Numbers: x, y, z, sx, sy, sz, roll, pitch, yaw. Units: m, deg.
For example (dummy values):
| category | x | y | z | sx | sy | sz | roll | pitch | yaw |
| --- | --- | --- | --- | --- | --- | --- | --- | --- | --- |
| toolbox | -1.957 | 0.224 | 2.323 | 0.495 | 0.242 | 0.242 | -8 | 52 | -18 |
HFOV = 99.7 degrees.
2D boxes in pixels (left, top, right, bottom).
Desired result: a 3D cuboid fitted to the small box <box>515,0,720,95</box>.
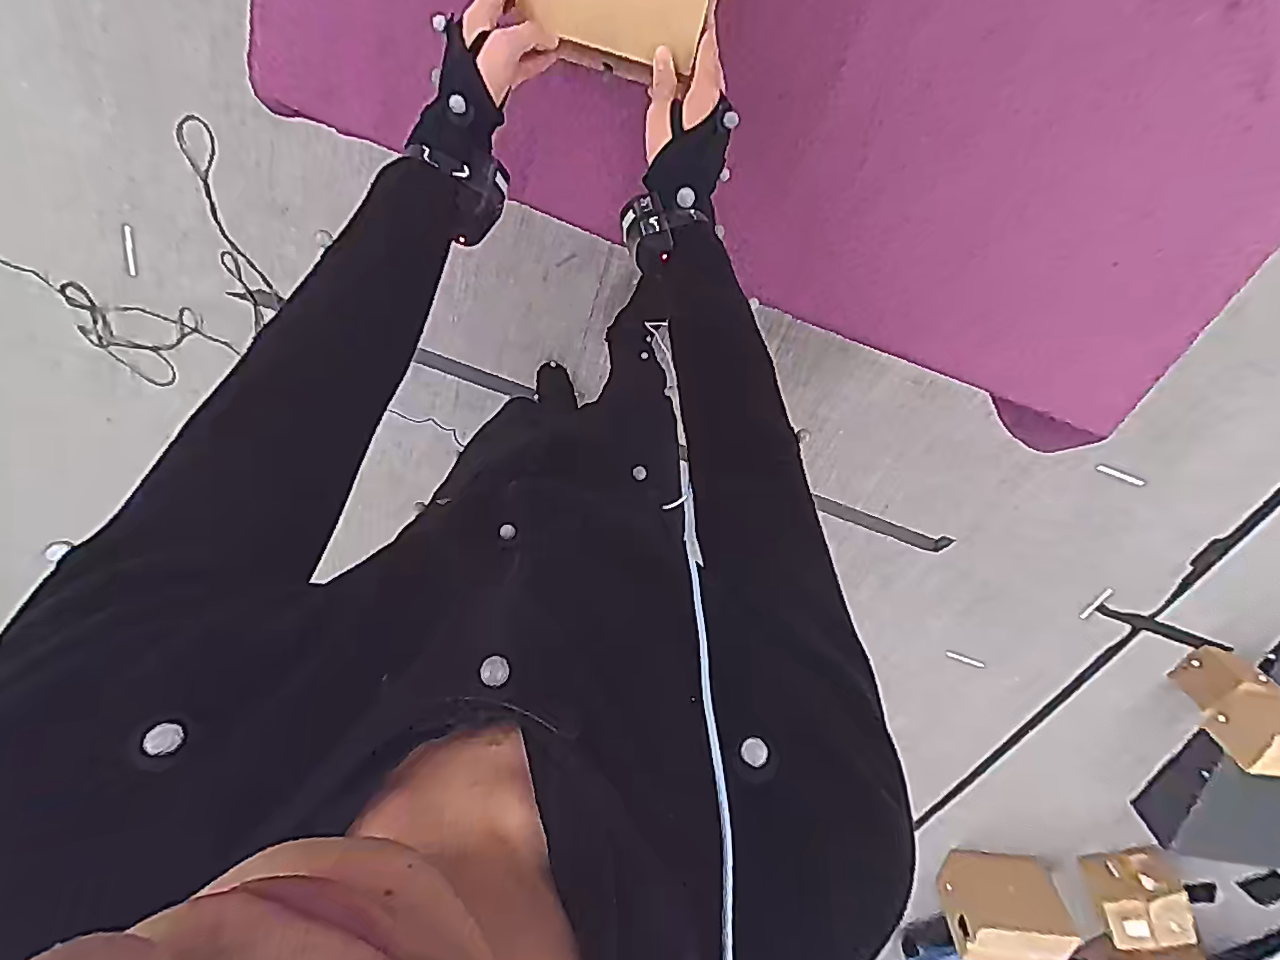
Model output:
| category | x | y | z | sx | sy | sz | roll | pitch | yaw |
| --- | --- | --- | --- | --- | --- | --- | --- | --- | --- |
| small box | -0.003 | -0.489 | 0.505 | 0.168 | 0.176 | 0.179 | 16 | 120 | -4 |
